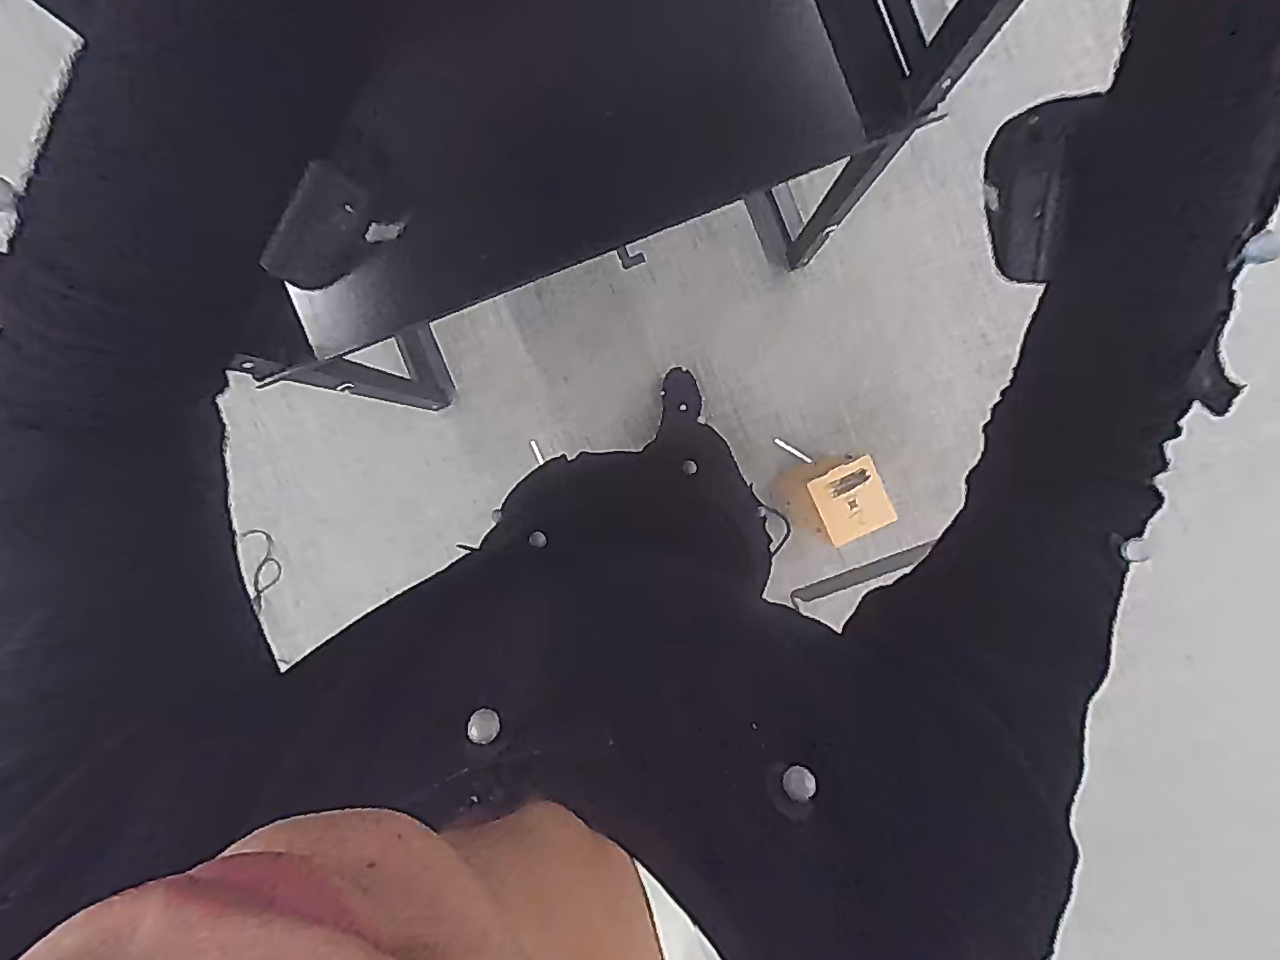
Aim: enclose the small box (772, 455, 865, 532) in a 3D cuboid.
[{"bbox_3d":[0.498,0.032,1.532,0.179,0.176,0.168,-22,92,2],"label":"small box"}]
